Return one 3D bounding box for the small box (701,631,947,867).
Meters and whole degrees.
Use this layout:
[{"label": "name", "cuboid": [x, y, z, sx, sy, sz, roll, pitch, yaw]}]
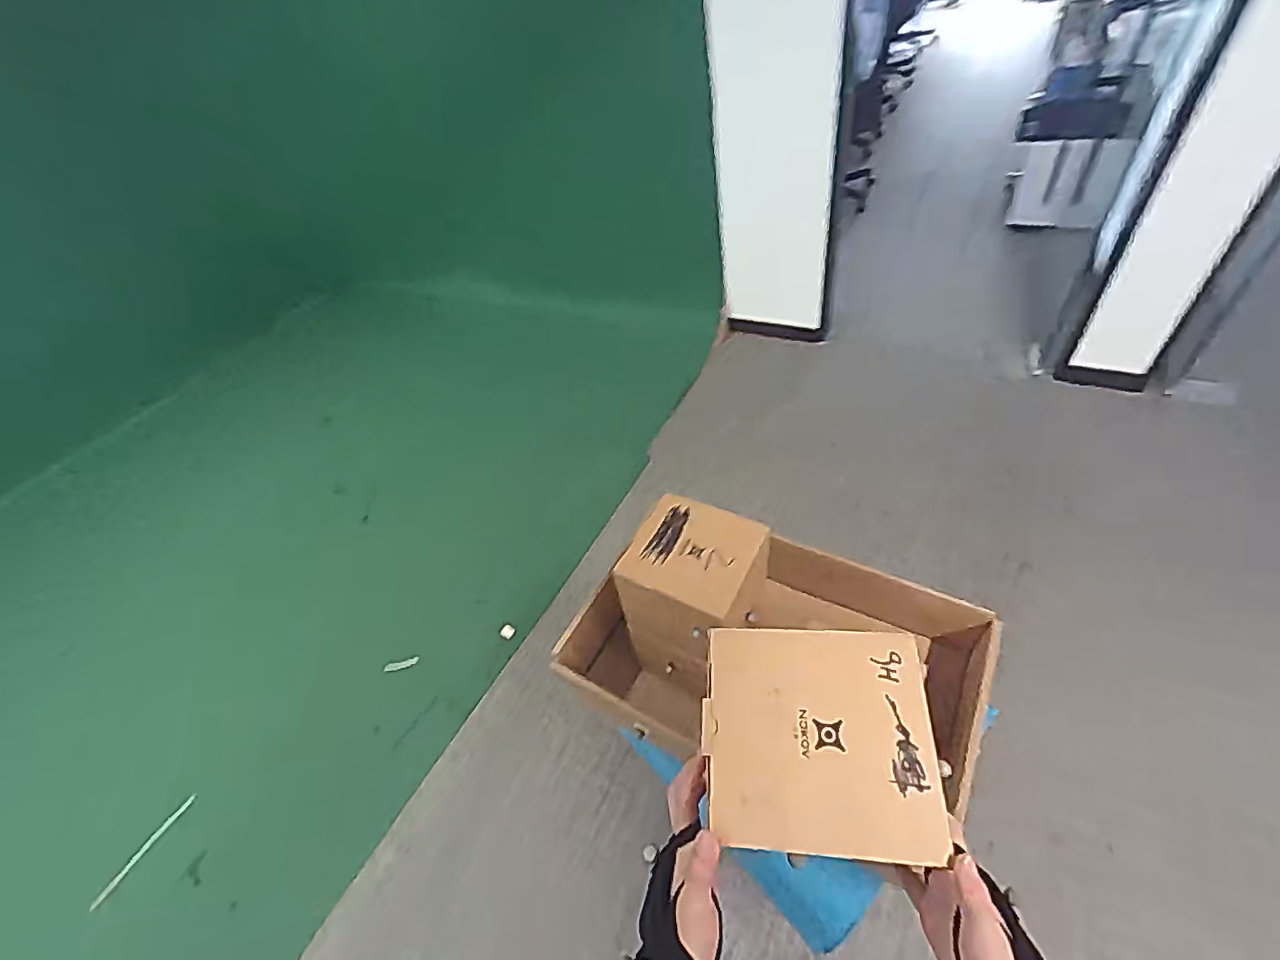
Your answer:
[{"label": "small box", "cuboid": [0.153, 0.245, 0.502, 0.179, 0.176, 0.168, -2, 60, 11]}]
